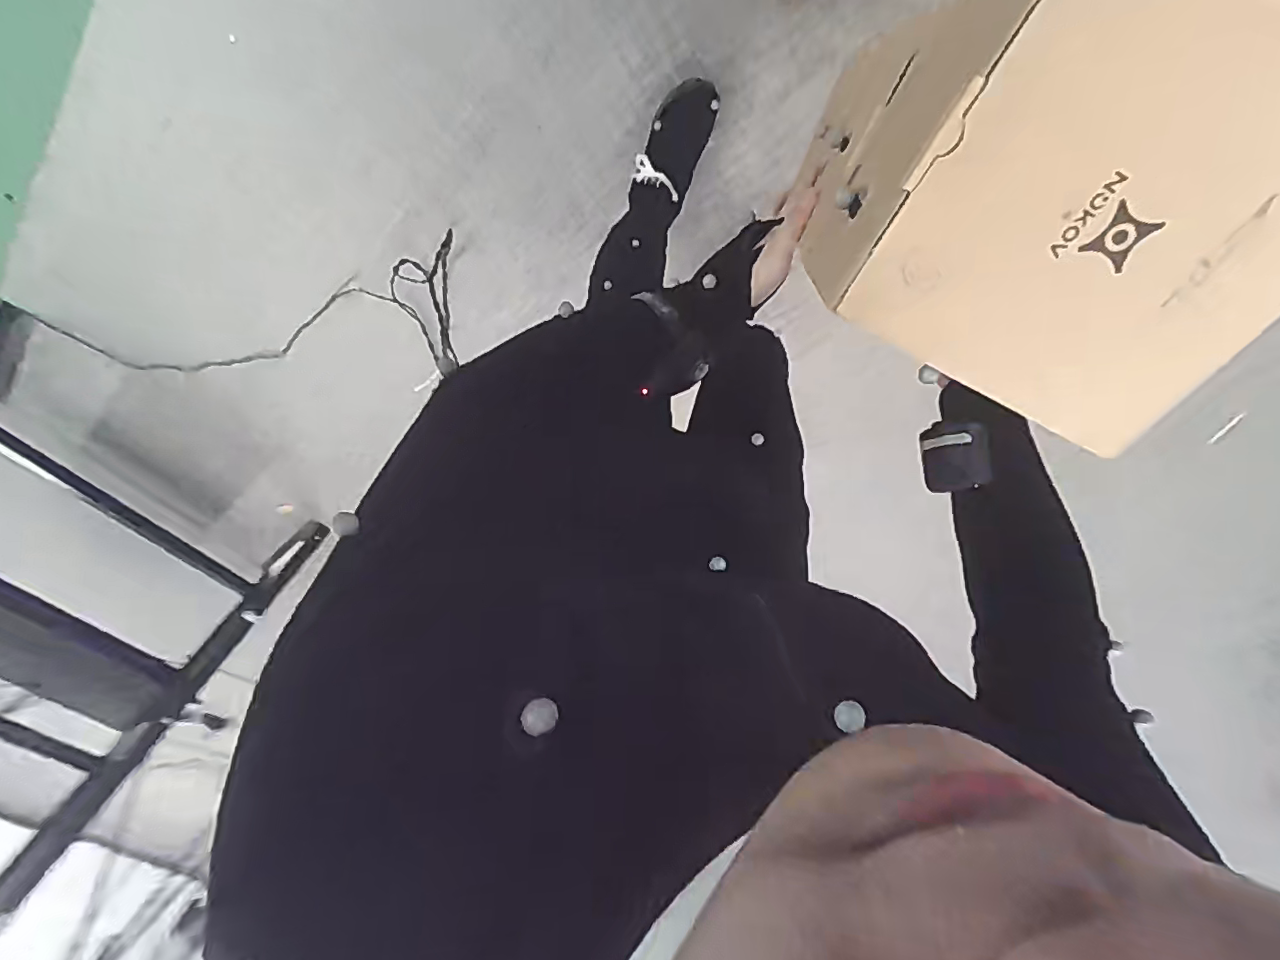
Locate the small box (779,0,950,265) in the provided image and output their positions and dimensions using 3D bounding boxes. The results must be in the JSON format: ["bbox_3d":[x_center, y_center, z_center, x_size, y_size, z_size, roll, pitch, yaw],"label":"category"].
[{"bbox_3d":[0.223,-0.223,0.422,0.179,0.176,0.168,23,124,-4],"label":"small box"}]

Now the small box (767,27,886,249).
[{"bbox_3d":[0.242,-0.316,0.556,0.168,0.176,0.179,20,123,-3],"label":"small box"}]

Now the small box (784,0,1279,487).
[{"bbox_3d":[0.194,-0.133,0.288,0.179,0.176,0.168,27,123,-7],"label":"small box"}]
